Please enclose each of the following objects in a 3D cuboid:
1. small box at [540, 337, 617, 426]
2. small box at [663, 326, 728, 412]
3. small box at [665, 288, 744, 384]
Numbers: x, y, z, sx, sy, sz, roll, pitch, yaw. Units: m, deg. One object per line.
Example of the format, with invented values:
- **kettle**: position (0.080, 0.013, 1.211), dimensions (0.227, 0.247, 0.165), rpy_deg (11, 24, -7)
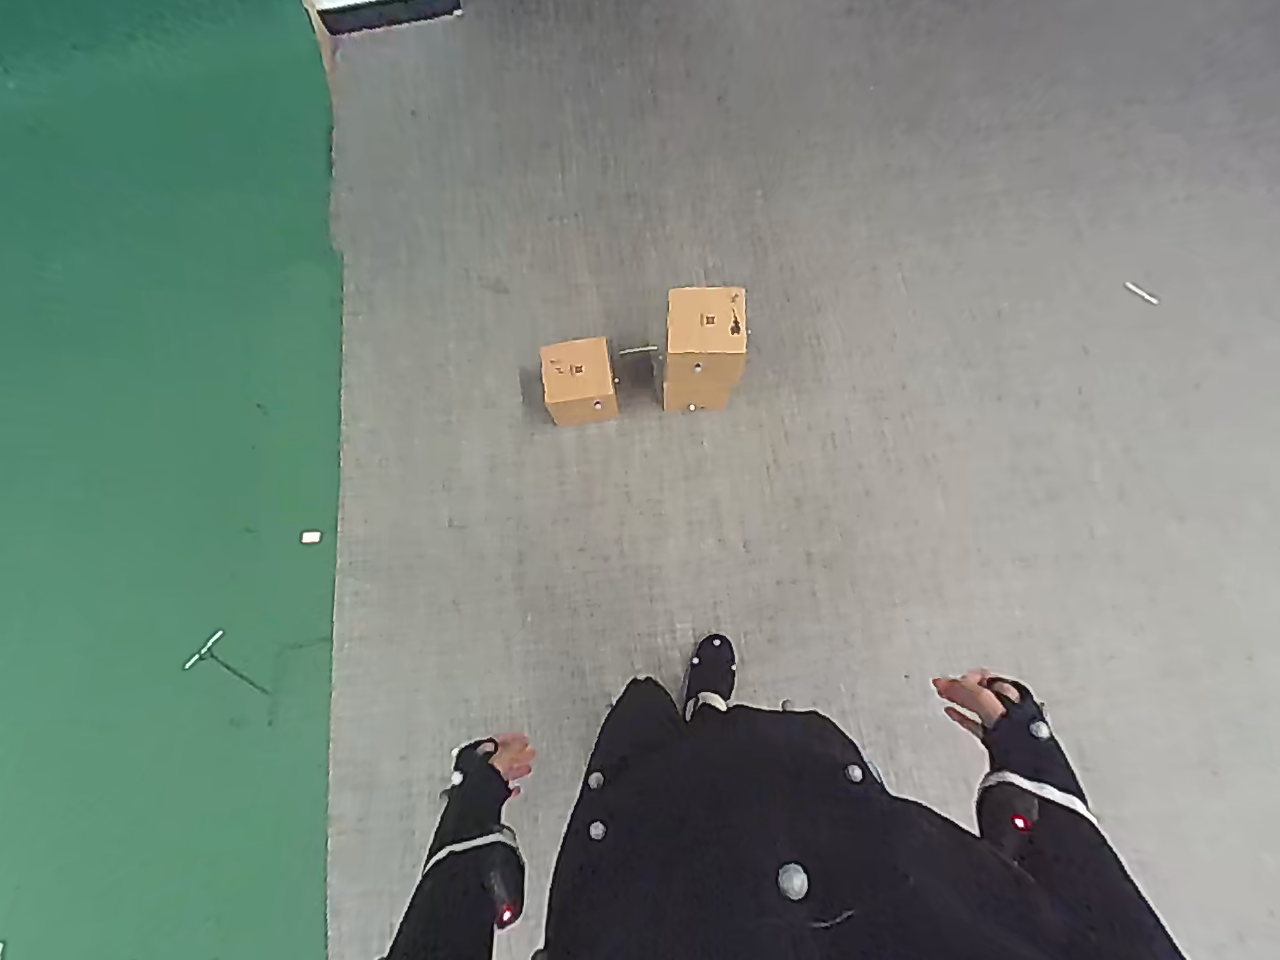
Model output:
- **small box**: position (-0.158, -0.259, 1.455), dimensions (0.179, 0.176, 0.168), rpy_deg (-10, 75, 2)
- **small box**: position (0.146, -0.296, 1.447), dimensions (0.168, 0.176, 0.179), rpy_deg (1, 76, 4)
- **small box**: position (0.152, -0.336, 1.286), dimensions (0.179, 0.176, 0.168), rpy_deg (1, 76, 5)
